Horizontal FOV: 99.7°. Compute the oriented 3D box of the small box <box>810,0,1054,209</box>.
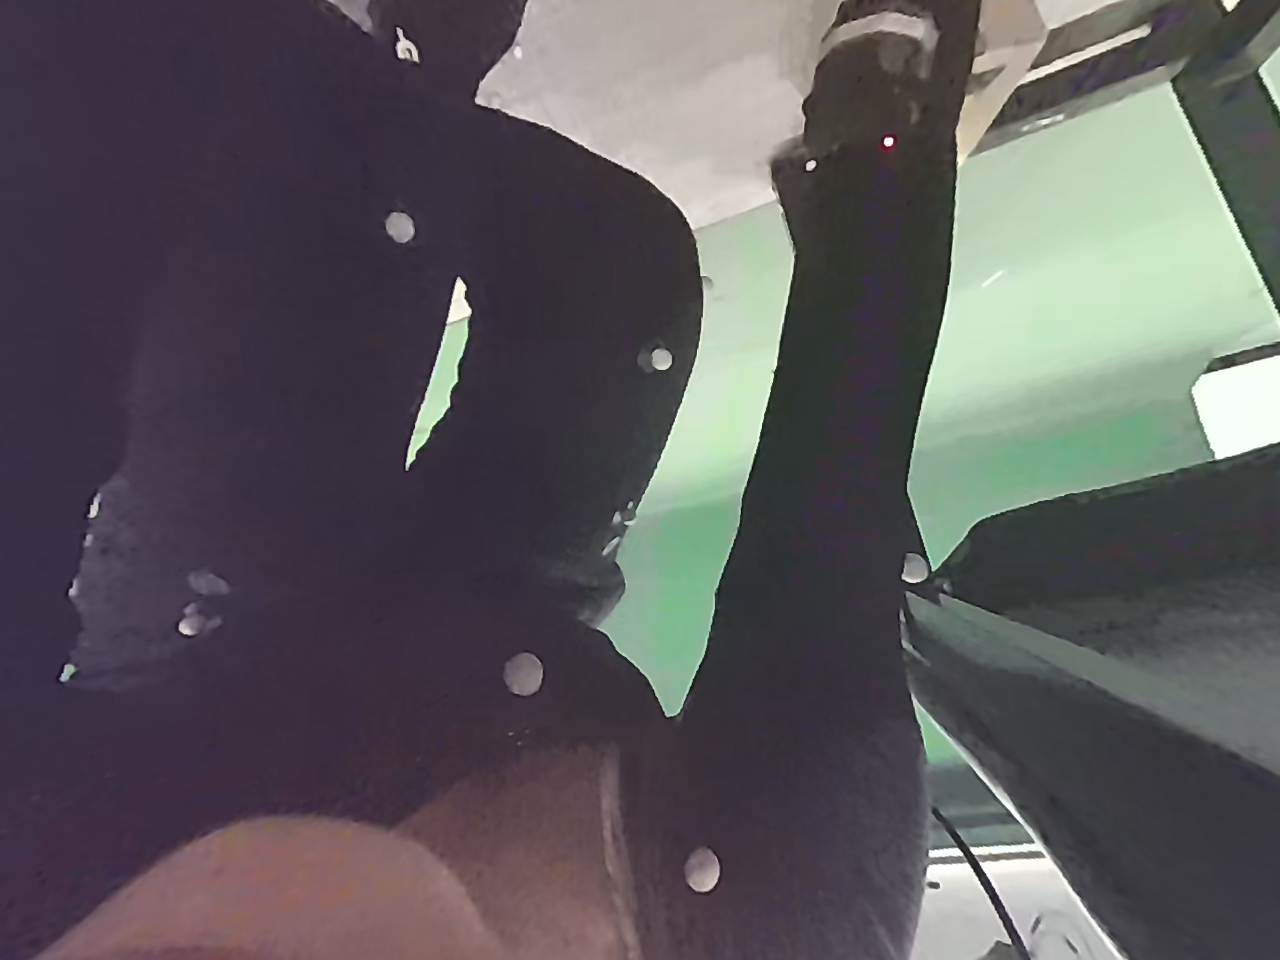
[{"bbox_3d":[0.306,-0.453,0.613,0.168,0.176,0.179,-12,171,3],"label":"small box"}]
